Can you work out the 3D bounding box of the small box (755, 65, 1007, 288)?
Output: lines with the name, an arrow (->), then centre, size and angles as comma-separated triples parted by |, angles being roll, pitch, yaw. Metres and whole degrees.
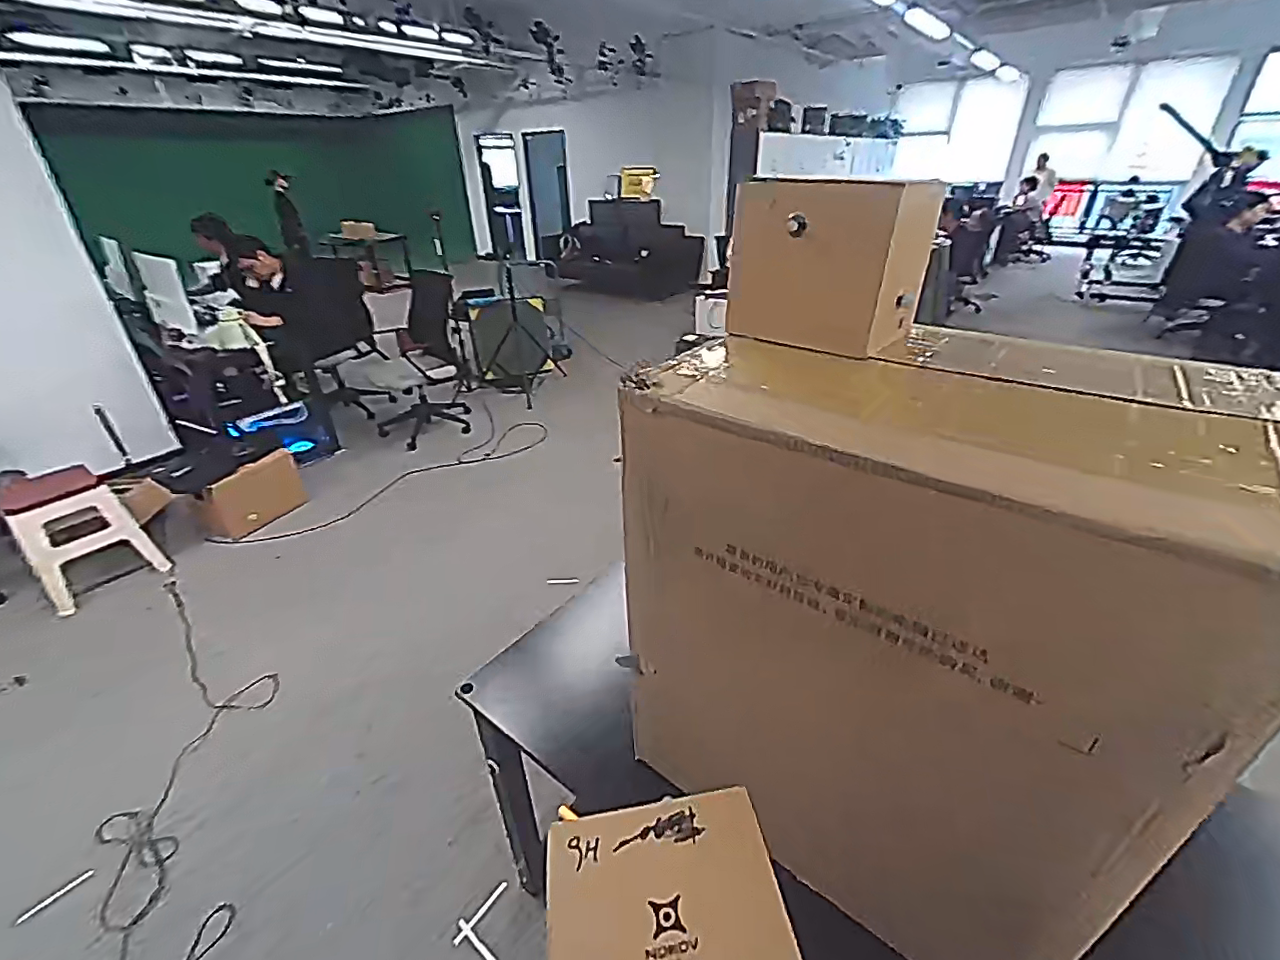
small box -> 0.234, -0.297, 0.550 | 0.179, 0.176, 0.168 | 23, 36, 32
